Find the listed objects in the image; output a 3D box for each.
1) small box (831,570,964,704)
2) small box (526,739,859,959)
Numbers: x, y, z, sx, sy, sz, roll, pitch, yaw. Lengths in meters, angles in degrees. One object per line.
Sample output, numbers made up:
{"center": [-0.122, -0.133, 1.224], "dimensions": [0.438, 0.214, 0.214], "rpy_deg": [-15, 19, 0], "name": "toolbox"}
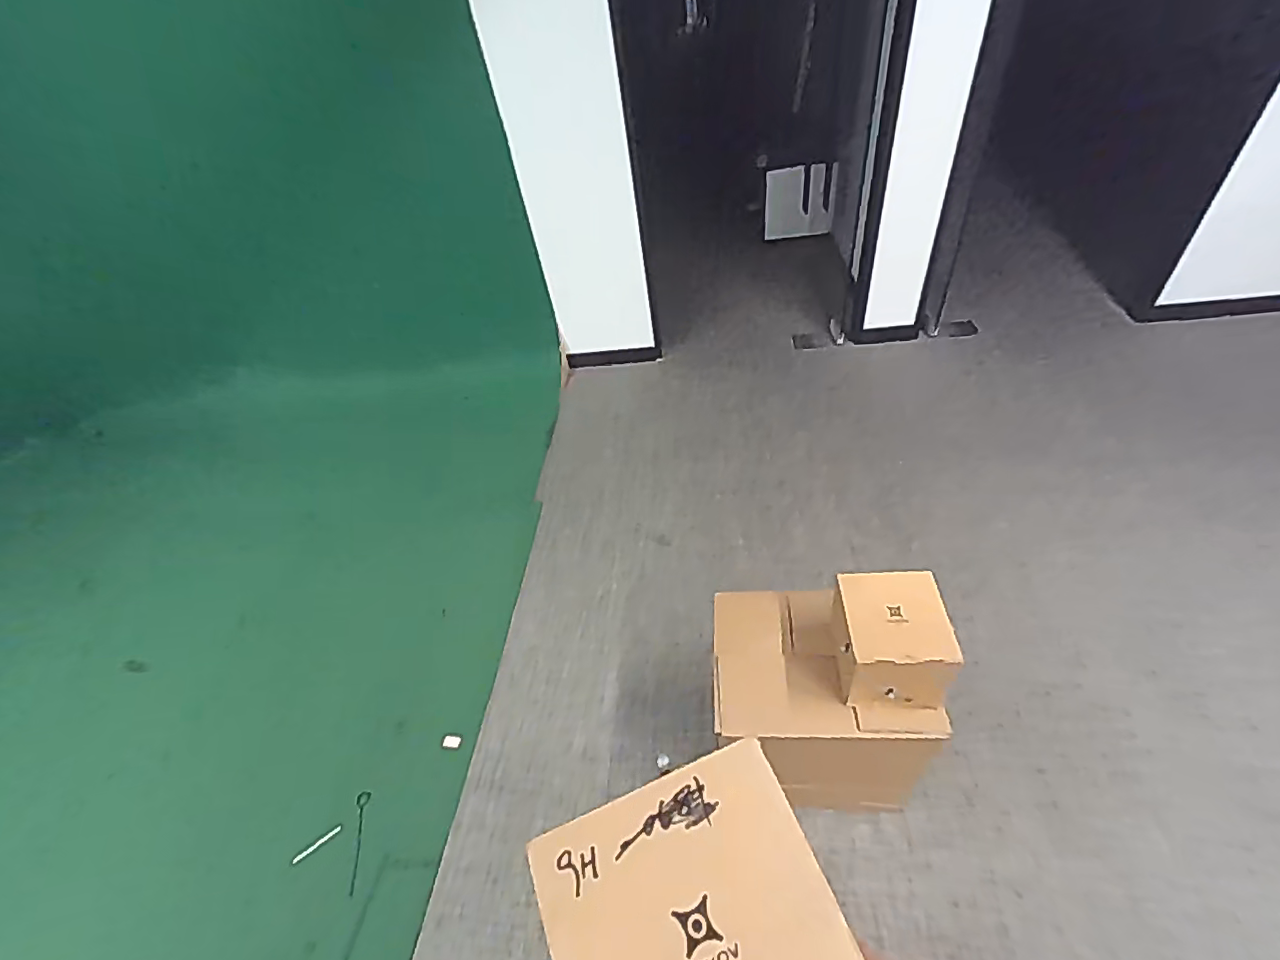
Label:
{"center": [0.449, 0.283, 0.976], "dimensions": [0.168, 0.176, 0.179], "rpy_deg": [-4, 45, 10], "name": "small box"}
{"center": [0.037, 0.309, 0.381], "dimensions": [0.168, 0.176, 0.179], "rpy_deg": [-20, 61, -10], "name": "small box"}
